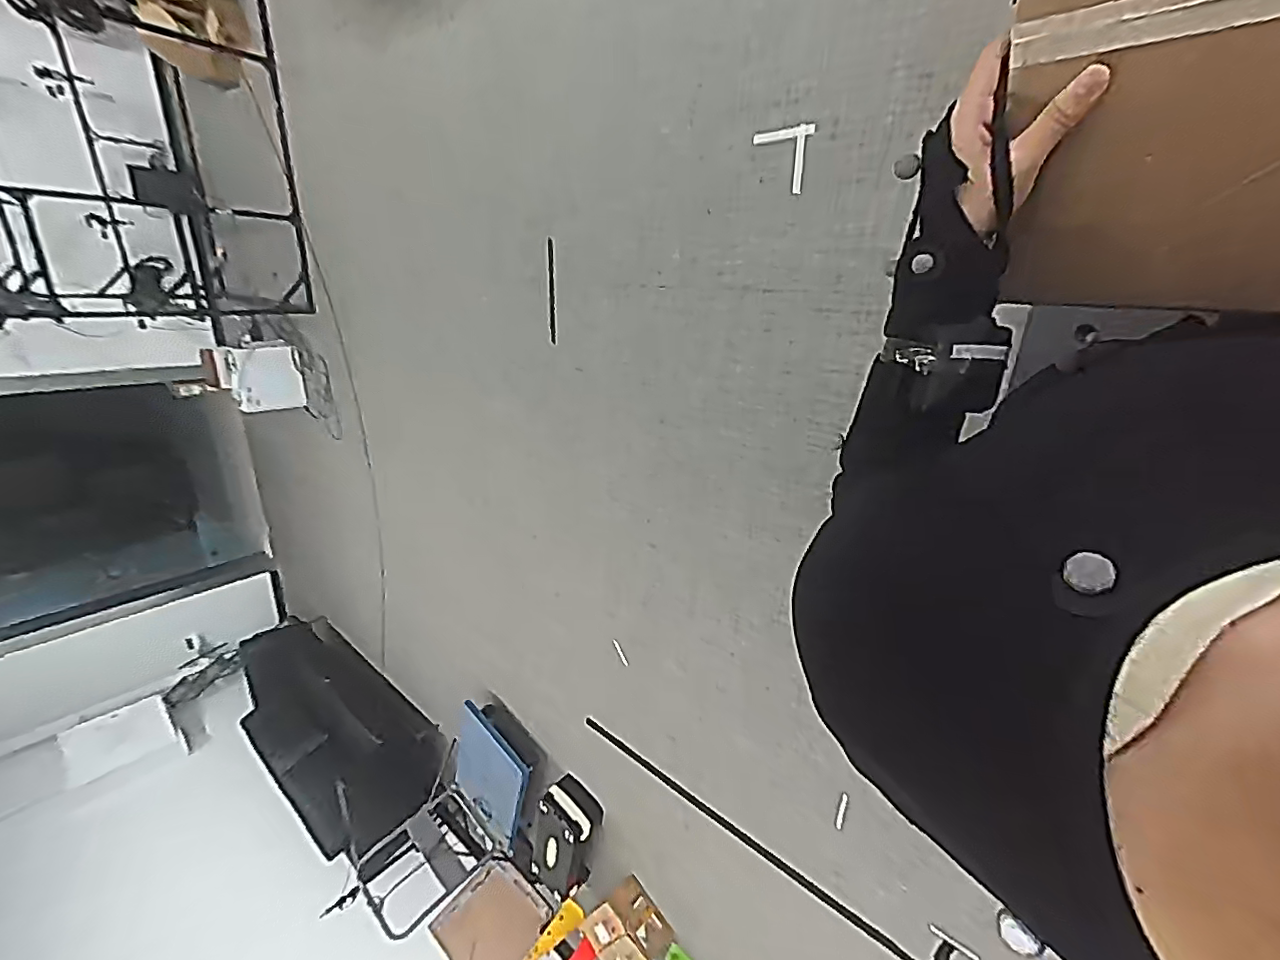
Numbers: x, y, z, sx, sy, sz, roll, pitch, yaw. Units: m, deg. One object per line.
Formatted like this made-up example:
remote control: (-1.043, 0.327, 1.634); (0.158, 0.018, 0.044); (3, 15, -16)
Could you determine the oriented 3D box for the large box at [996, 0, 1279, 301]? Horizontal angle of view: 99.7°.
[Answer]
large box: (0.465, -0.301, 0.276); (0.408, 0.320, 0.320); (17, 139, 38)
